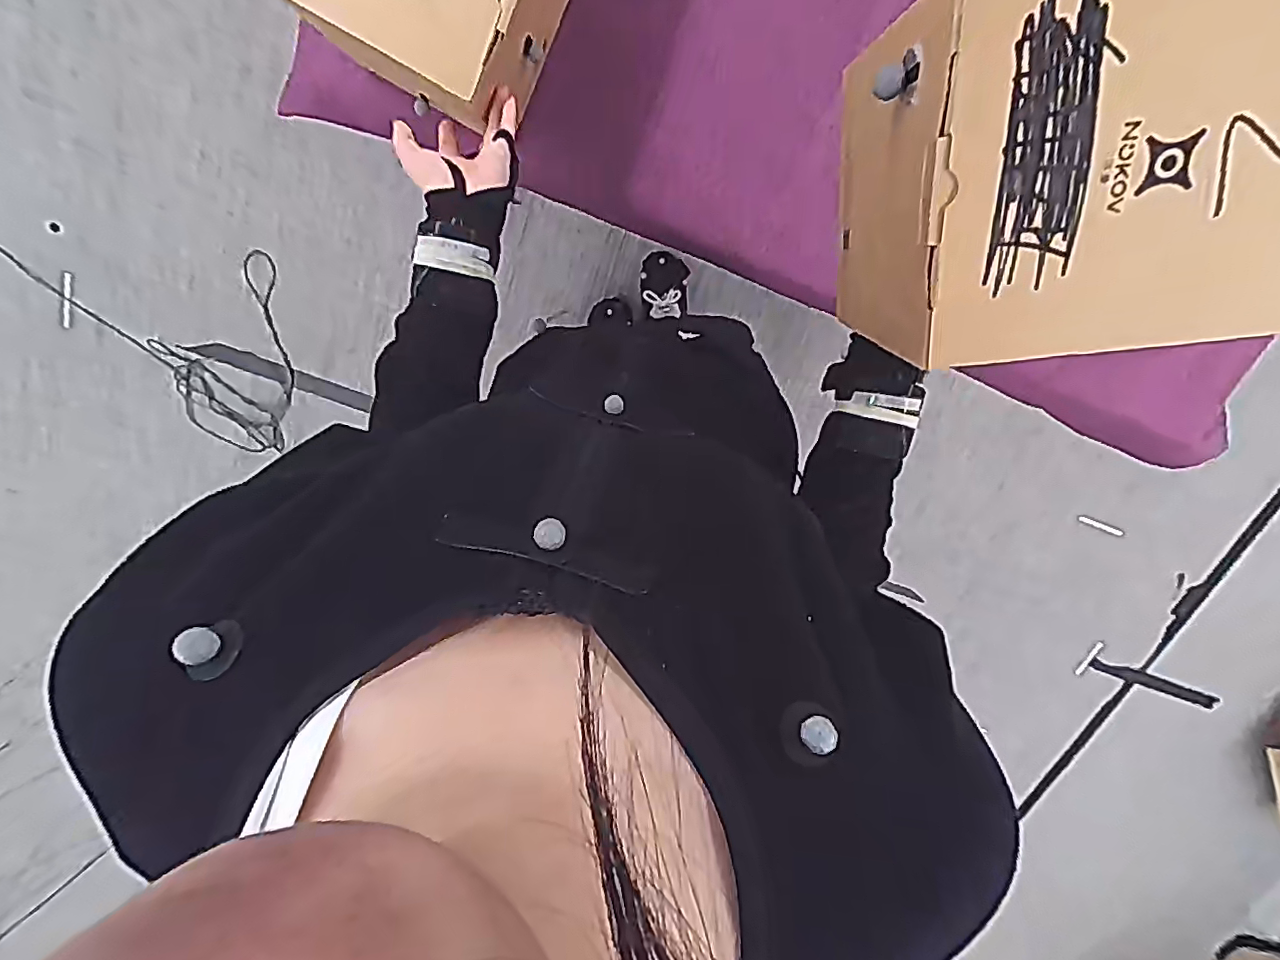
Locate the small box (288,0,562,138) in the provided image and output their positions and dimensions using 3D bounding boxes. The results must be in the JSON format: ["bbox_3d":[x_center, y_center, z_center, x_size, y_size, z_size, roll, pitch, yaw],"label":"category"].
[{"bbox_3d":[-0.184,-0.452,0.502,0.179,0.176,0.168,26,106,-12],"label":"small box"}]
